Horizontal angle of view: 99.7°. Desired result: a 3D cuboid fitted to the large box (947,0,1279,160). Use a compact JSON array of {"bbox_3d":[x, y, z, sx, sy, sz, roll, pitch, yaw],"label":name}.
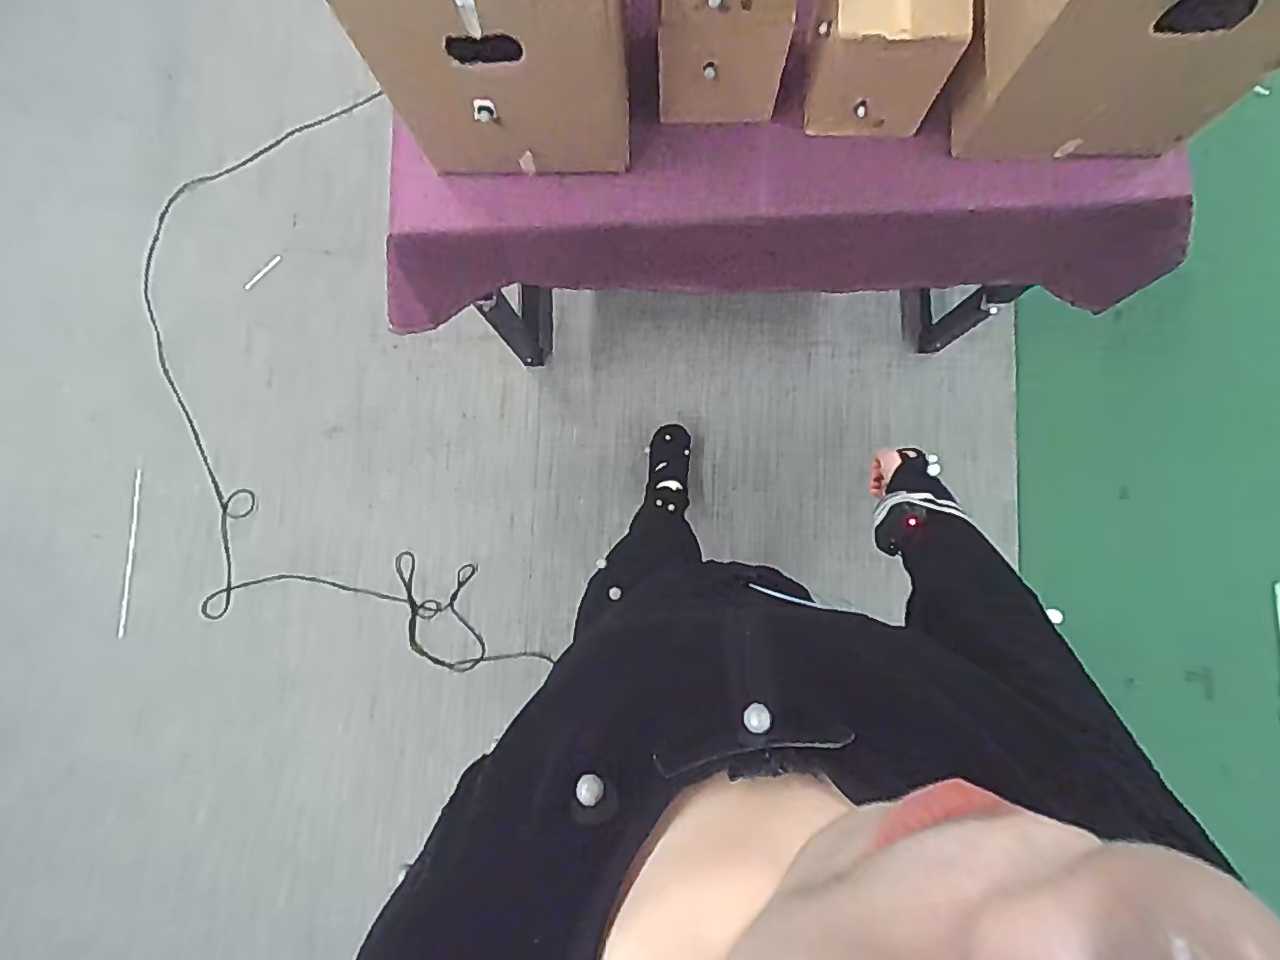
[{"bbox_3d":[0.625,-0.699,0.690,0.320,0.320,0.408,2,85,3],"label":"large box"}]
